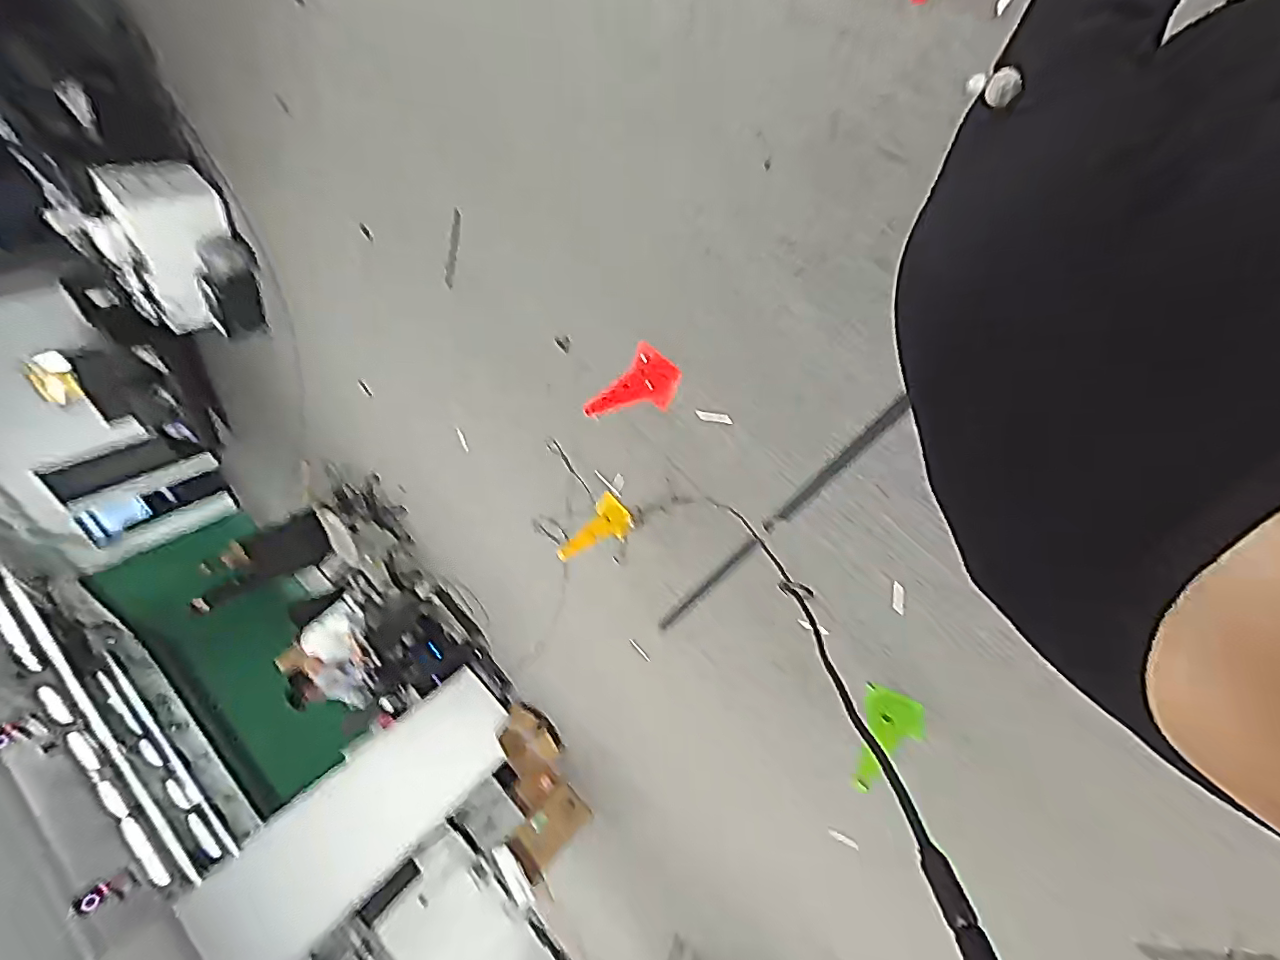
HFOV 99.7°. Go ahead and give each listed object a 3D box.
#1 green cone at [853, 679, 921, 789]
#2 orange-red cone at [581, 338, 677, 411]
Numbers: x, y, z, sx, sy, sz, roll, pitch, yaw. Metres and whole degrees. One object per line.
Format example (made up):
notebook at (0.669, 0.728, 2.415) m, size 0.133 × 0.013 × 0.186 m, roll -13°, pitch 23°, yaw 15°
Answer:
green cone at (0.829, 0.926, 1.907) m, size 0.202 × 0.368 × 0.200 m, roll 14°, pitch 127°, yaw 37°
orange-red cone at (-0.068, -0.322, 1.896) m, size 0.198 × 0.360 × 0.199 m, roll 44°, pitch 141°, yaw 14°
